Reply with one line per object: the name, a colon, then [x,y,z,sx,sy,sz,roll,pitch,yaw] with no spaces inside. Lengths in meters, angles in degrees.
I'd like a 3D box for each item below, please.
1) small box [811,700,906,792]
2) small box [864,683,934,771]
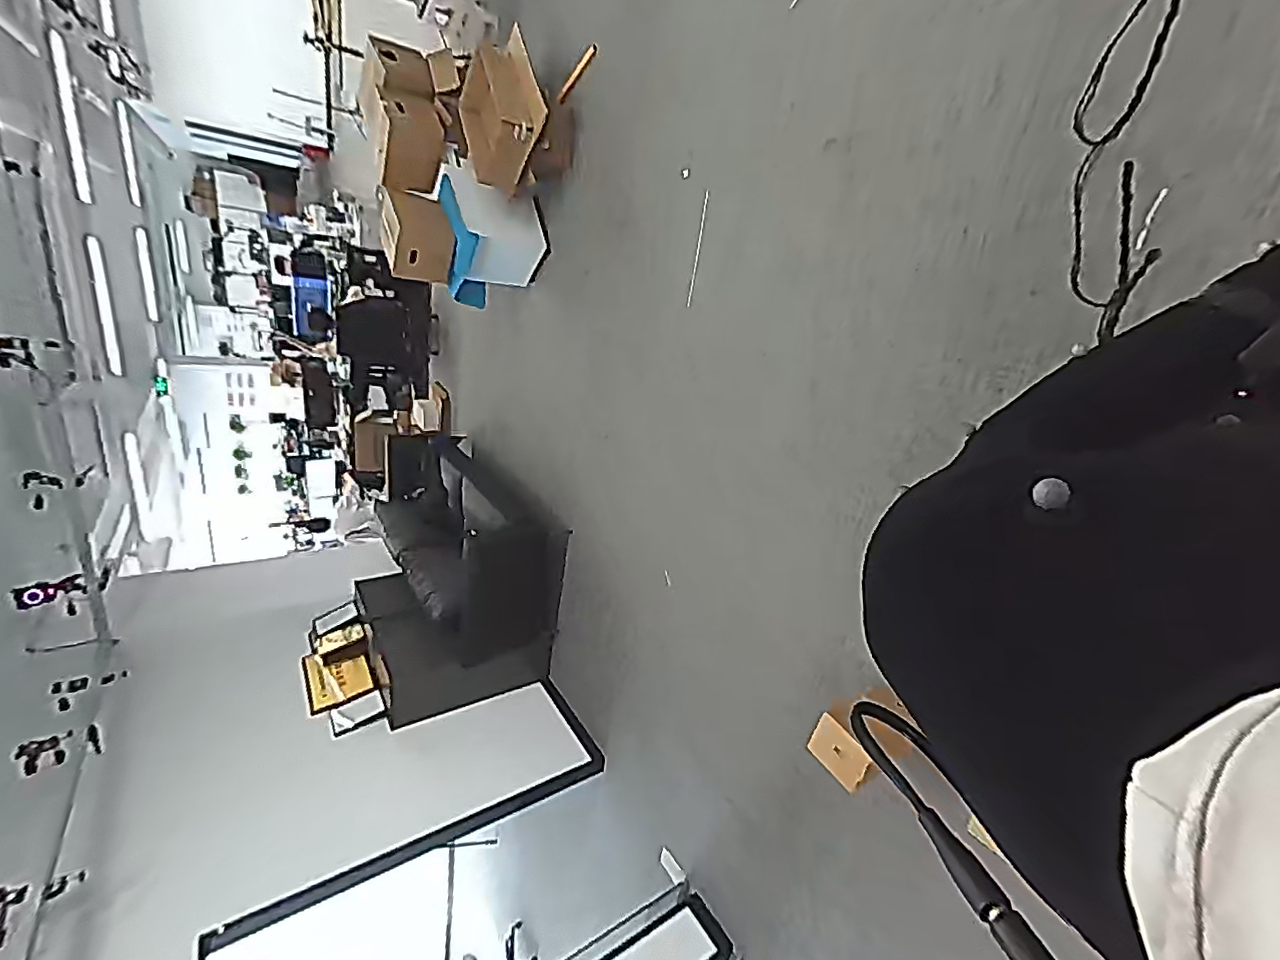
small box: [0.666,0.800,1.651,0.179,0.176,0.168,41,127,44]
small box: [0.806,0.784,1.734,0.168,0.176,0.179,44,128,44]
